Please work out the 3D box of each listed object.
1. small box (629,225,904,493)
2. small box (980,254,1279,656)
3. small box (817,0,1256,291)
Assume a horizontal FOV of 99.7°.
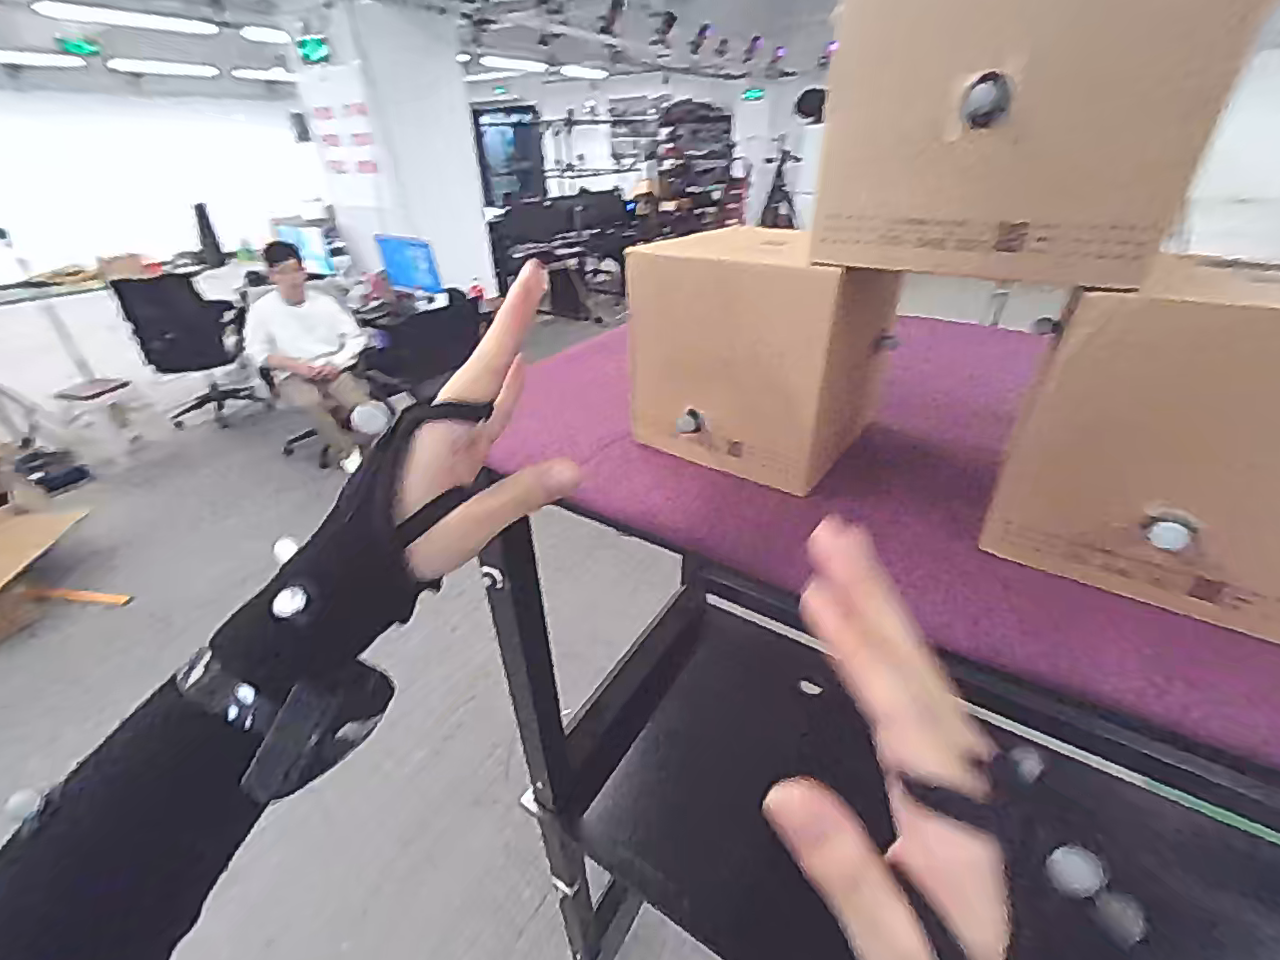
[{"bbox_3d":[0.105,-0.115,0.466,0.168,0.176,0.179,20,38,32],"label":"small box"},{"bbox_3d":[0.332,-0.033,0.330,0.168,0.176,0.179,20,37,30],"label":"small box"},{"bbox_3d":[0.214,-0.215,0.313,0.168,0.176,0.179,20,37,30],"label":"small box"}]
